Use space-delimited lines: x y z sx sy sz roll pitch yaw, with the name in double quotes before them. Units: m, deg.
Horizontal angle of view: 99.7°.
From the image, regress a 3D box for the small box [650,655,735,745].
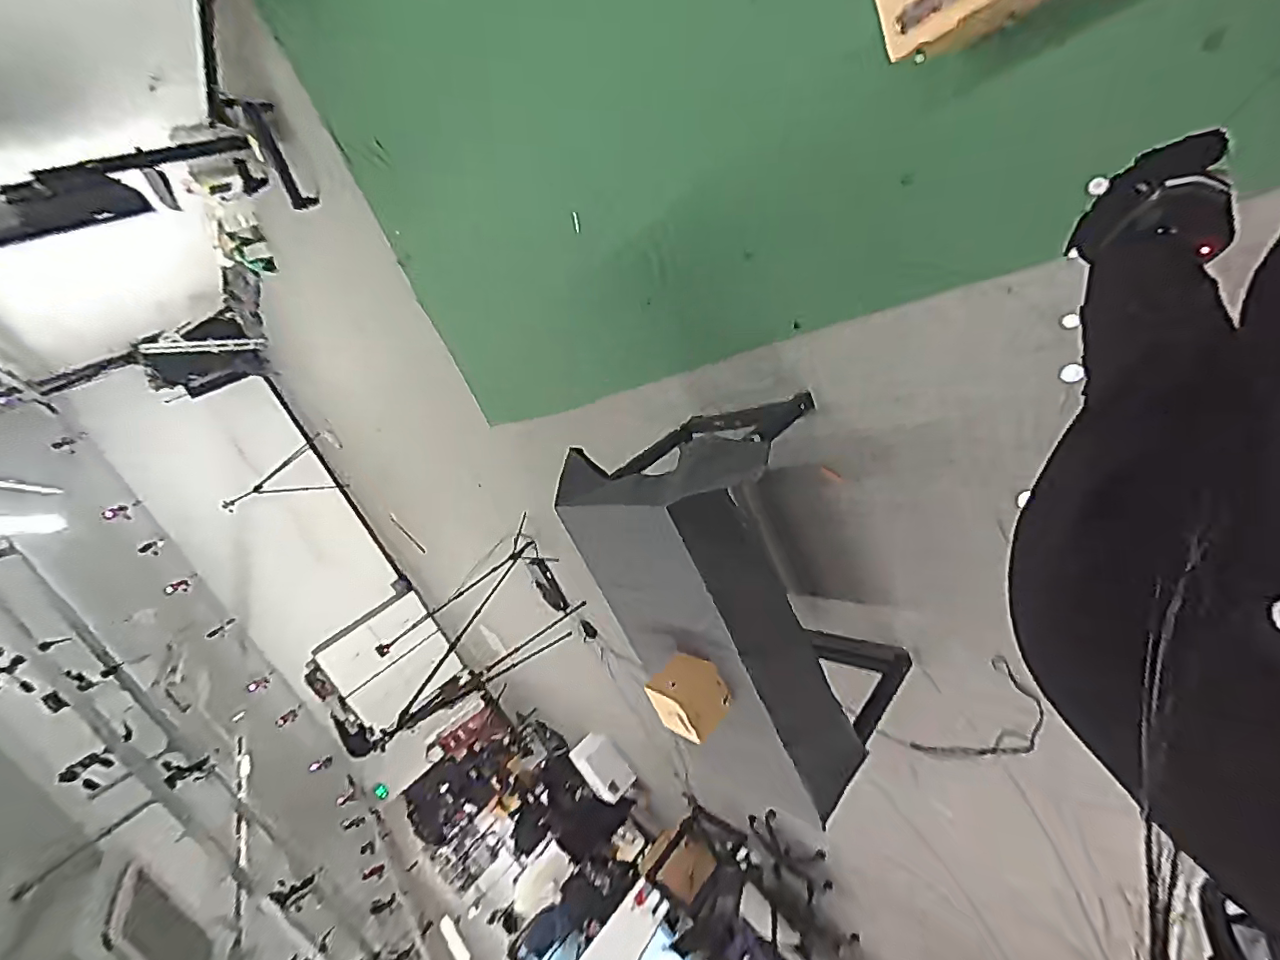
"small box" 0.169 0.669 1.668 0.179 0.176 0.168 -5 116 55
